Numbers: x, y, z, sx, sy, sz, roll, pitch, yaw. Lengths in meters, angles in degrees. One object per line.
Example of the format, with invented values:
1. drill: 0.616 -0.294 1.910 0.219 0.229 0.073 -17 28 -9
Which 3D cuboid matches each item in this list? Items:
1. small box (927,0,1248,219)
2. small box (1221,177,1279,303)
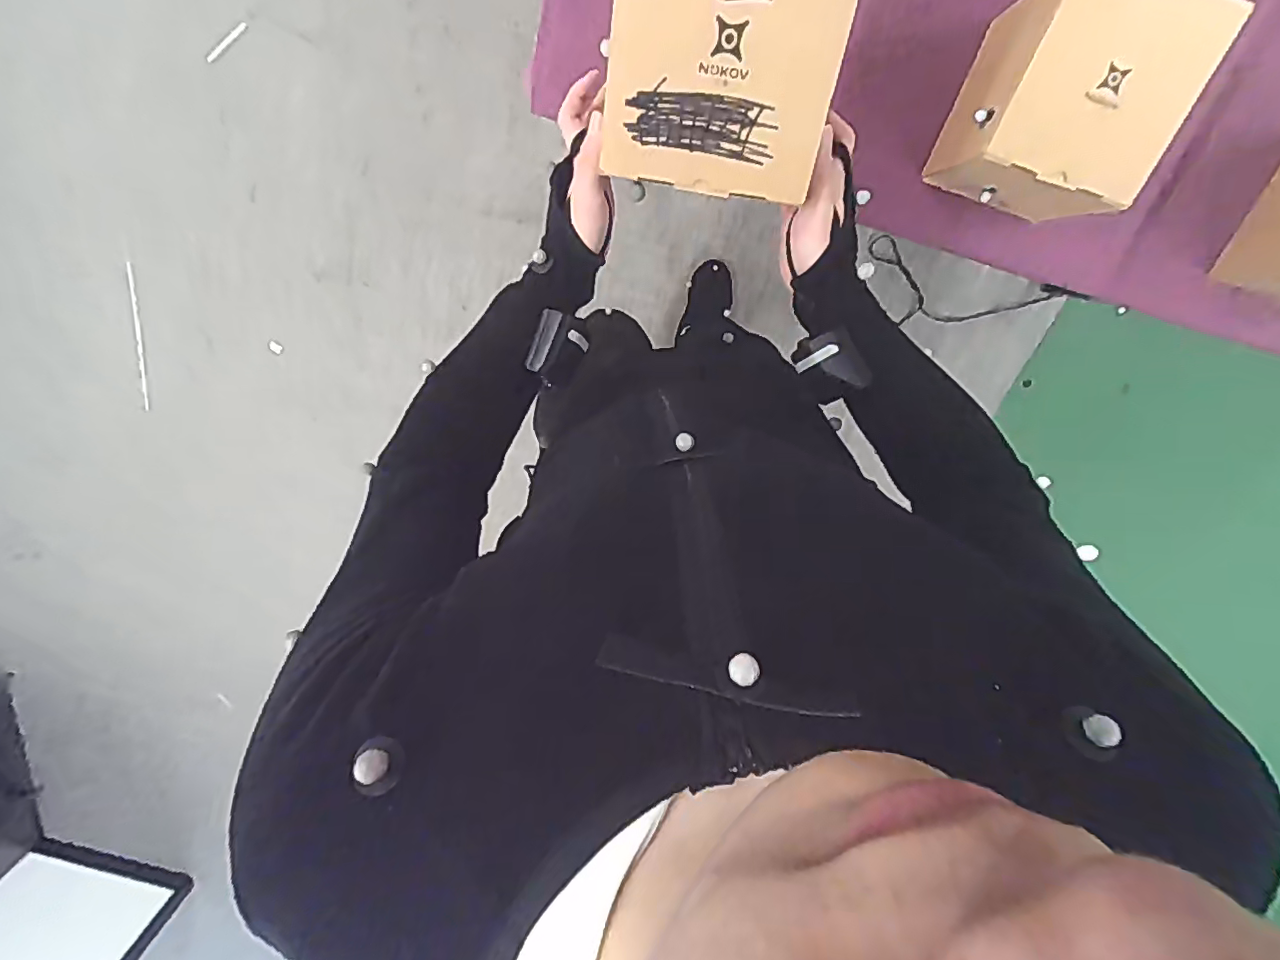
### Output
1. small box: 0.450 -0.402 0.586 0.168 0.176 0.179 18 114 -2
2. small box: 0.829 -0.281 0.594 0.168 0.176 0.179 17 114 0
